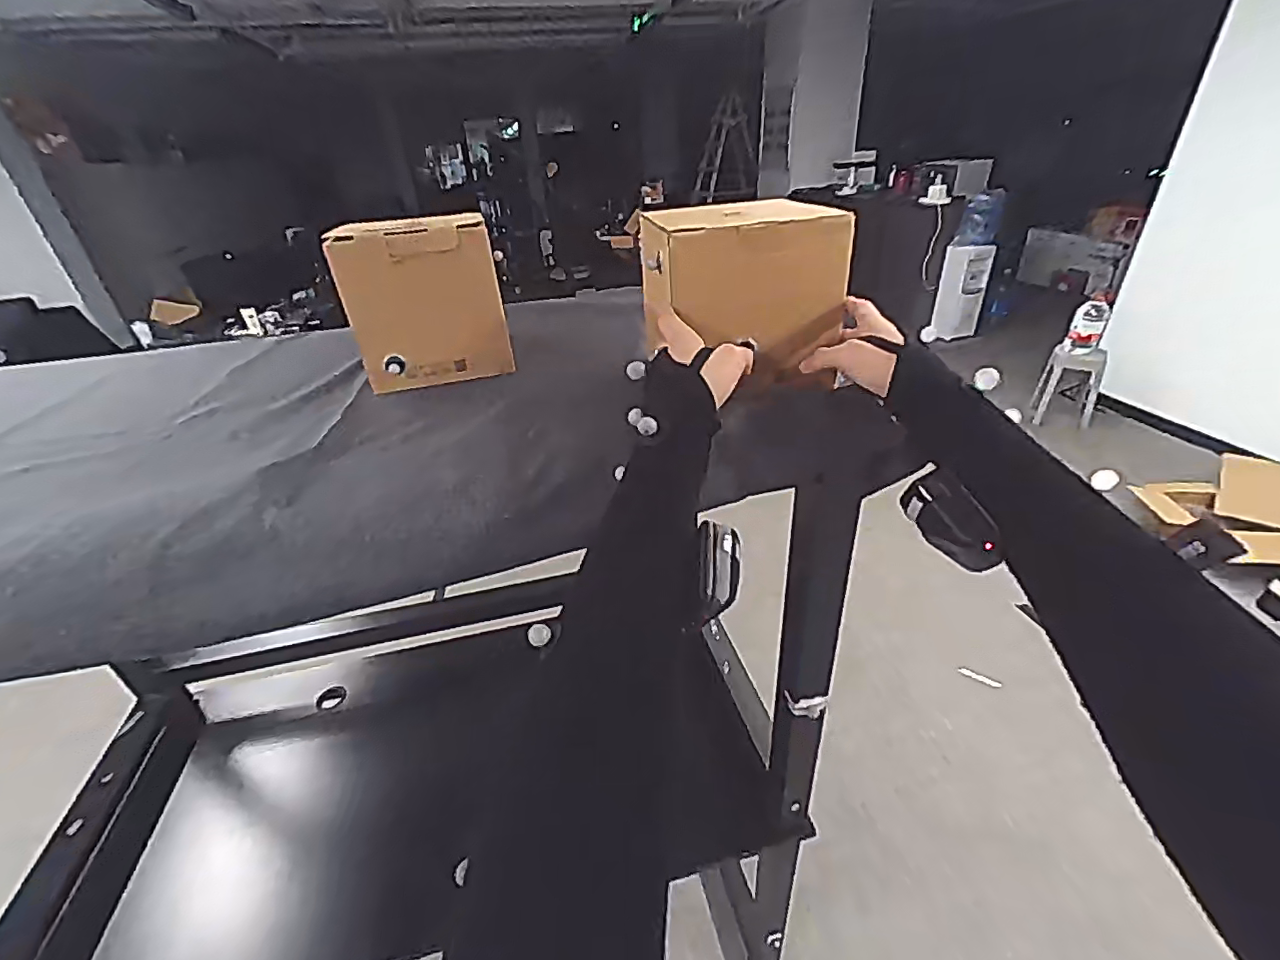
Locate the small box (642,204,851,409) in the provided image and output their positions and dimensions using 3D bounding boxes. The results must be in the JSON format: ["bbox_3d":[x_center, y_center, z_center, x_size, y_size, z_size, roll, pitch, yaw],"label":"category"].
[{"bbox_3d":[0.097,-0.189,0.574,0.168,0.176,0.179,-8,32,-5],"label":"small box"}]

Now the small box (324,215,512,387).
[{"bbox_3d":[-0.261,-0.223,0.674,0.168,0.176,0.179,-12,31,-12],"label":"small box"}]
